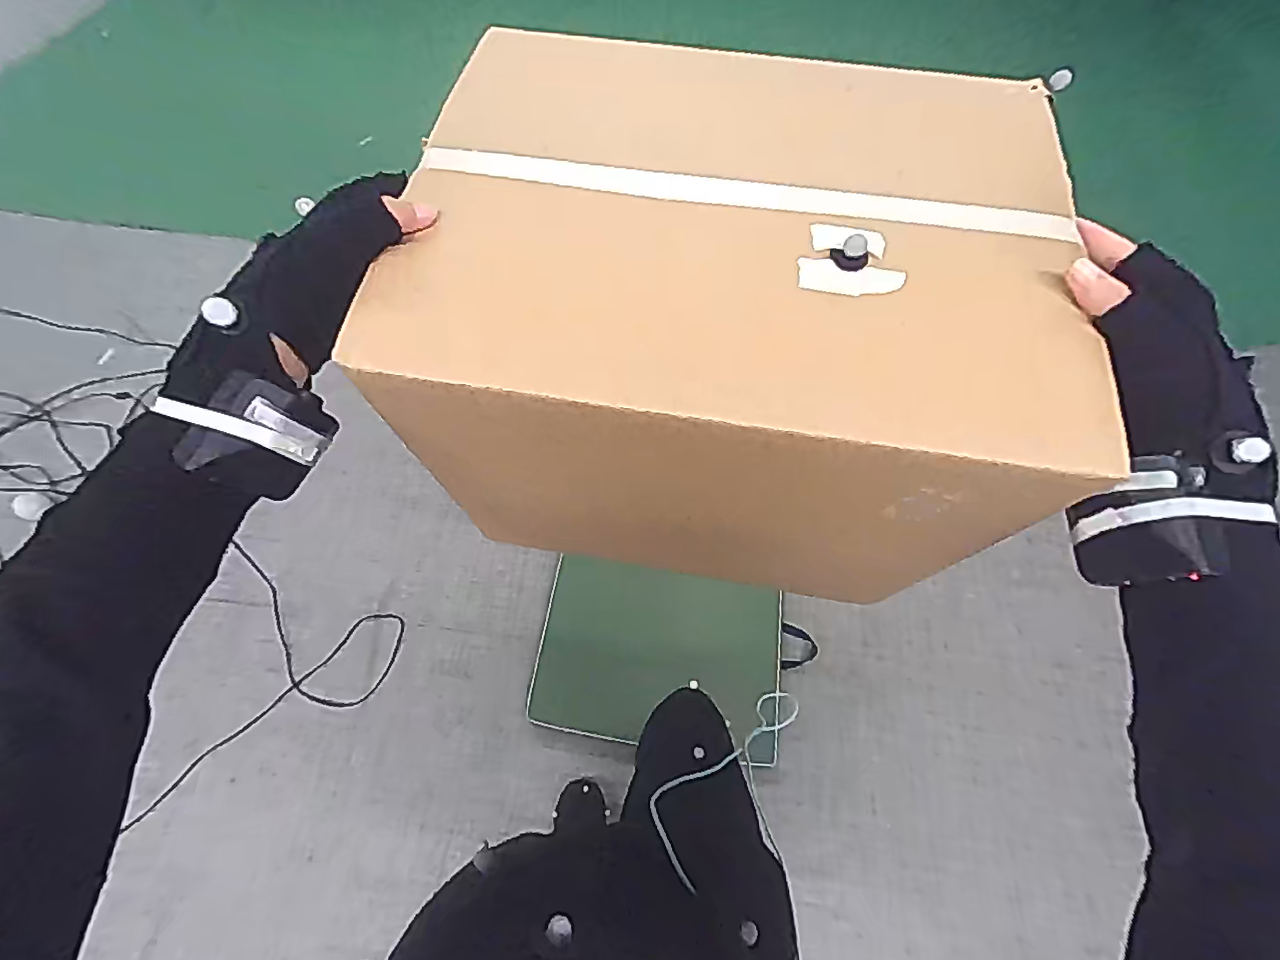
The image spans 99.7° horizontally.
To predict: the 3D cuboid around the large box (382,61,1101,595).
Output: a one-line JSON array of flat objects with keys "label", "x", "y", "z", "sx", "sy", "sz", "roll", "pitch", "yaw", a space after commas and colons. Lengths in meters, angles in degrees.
[{"label": "large box", "x": 0.067, "y": -0.106, "z": 0.489, "sx": 0.408, "sy": 0.320, "sz": 0.320, "roll": 9, "pitch": 66, "yaw": 3}]
